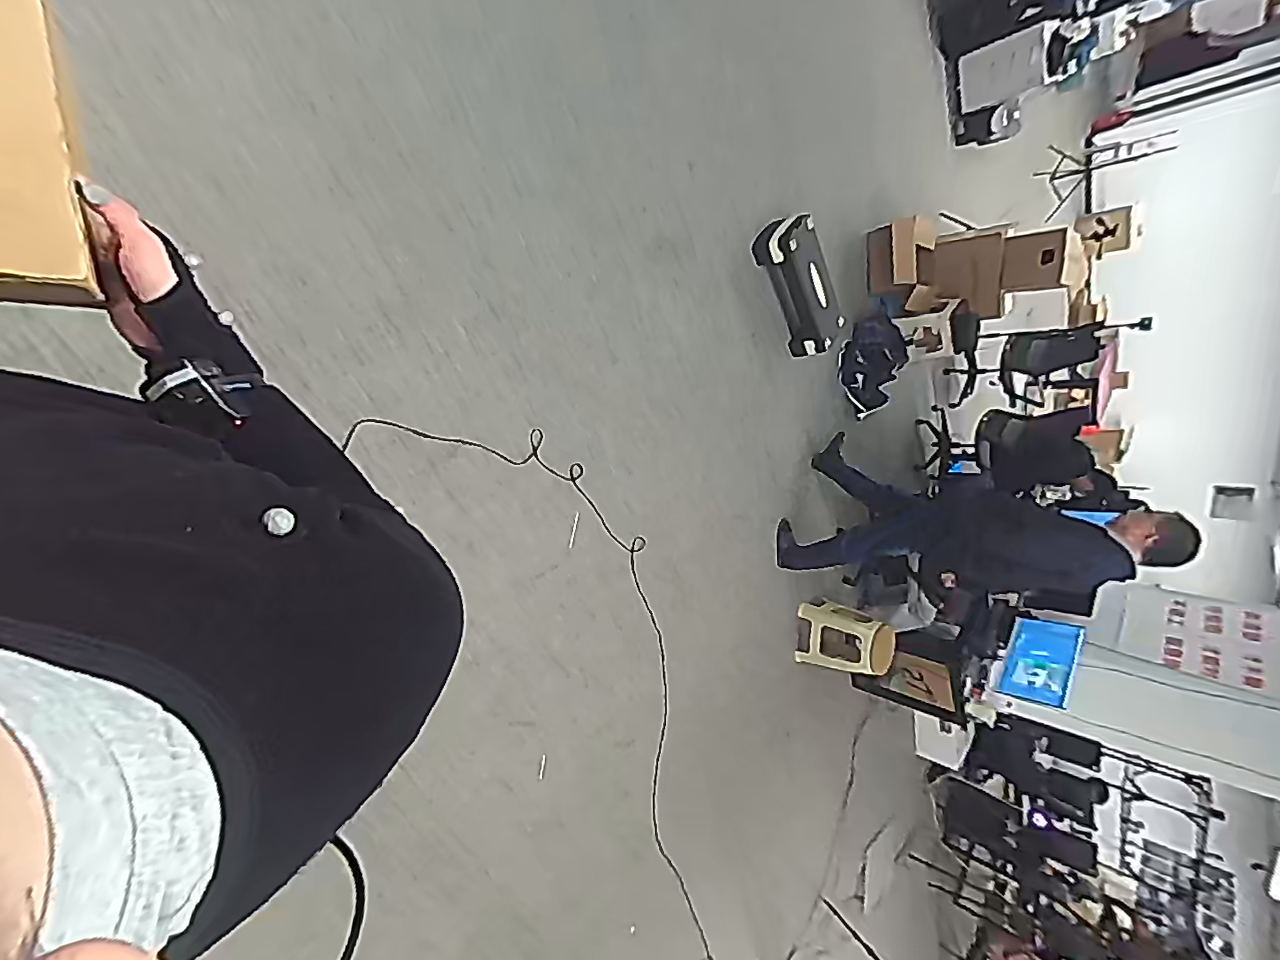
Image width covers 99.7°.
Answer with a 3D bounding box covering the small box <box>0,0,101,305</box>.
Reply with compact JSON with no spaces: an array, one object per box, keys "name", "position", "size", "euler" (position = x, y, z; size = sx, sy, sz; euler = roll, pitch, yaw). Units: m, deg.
[{"name":"small box","position":[-0.461,-0.207,0.330],"size":[0.168,0.176,0.179],"euler":[-9,105,-41]}]
